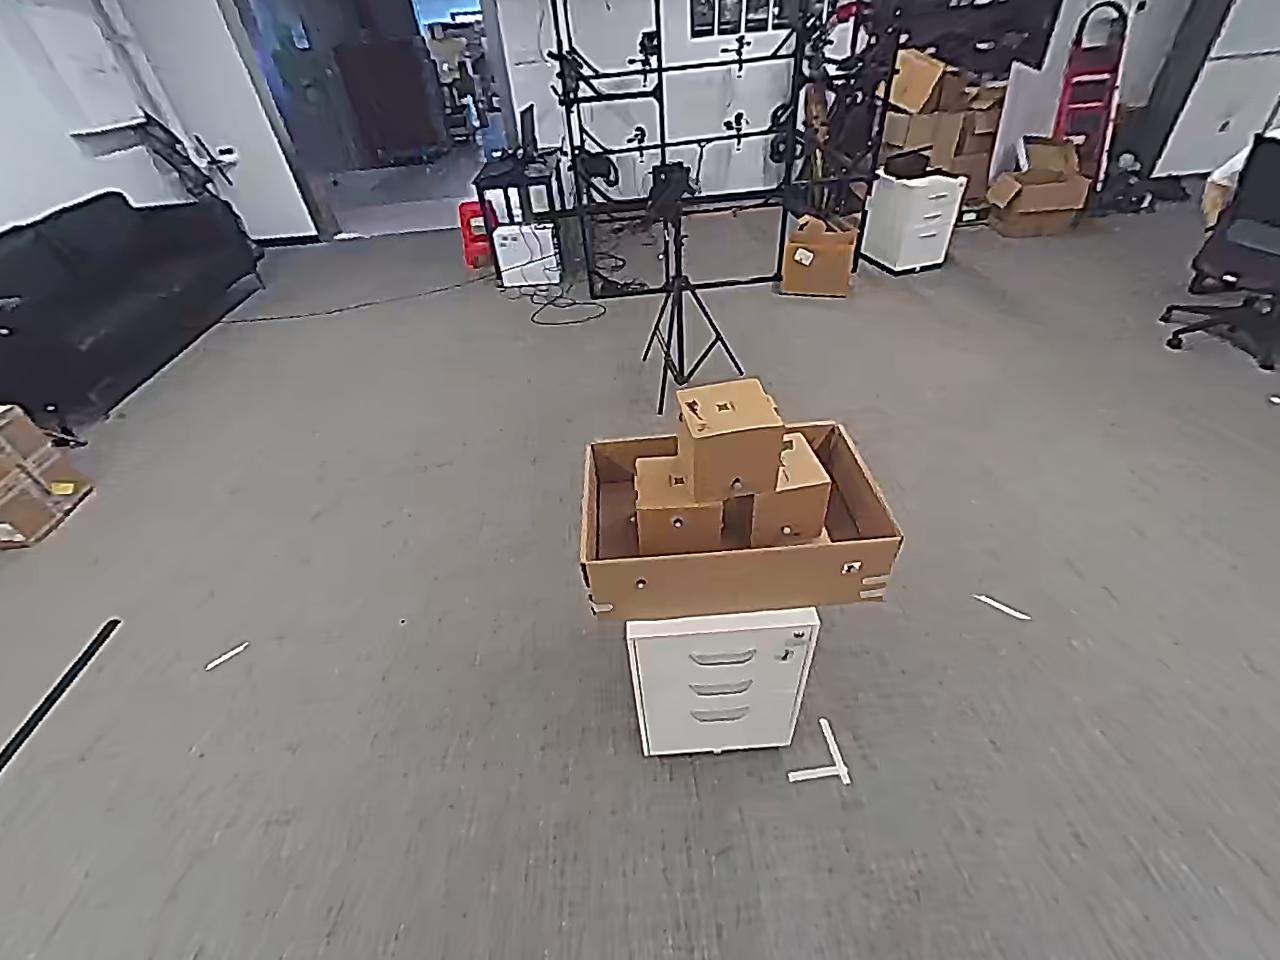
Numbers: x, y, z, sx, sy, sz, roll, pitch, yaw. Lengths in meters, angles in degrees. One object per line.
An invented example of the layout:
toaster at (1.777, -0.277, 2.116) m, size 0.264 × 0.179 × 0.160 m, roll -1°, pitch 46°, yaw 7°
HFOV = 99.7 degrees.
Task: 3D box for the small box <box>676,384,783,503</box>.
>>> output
small box at (0.172, -0.073, 1.103) m, size 0.179 × 0.176 × 0.168 m, roll -8°, pitch 41°, yaw -4°
